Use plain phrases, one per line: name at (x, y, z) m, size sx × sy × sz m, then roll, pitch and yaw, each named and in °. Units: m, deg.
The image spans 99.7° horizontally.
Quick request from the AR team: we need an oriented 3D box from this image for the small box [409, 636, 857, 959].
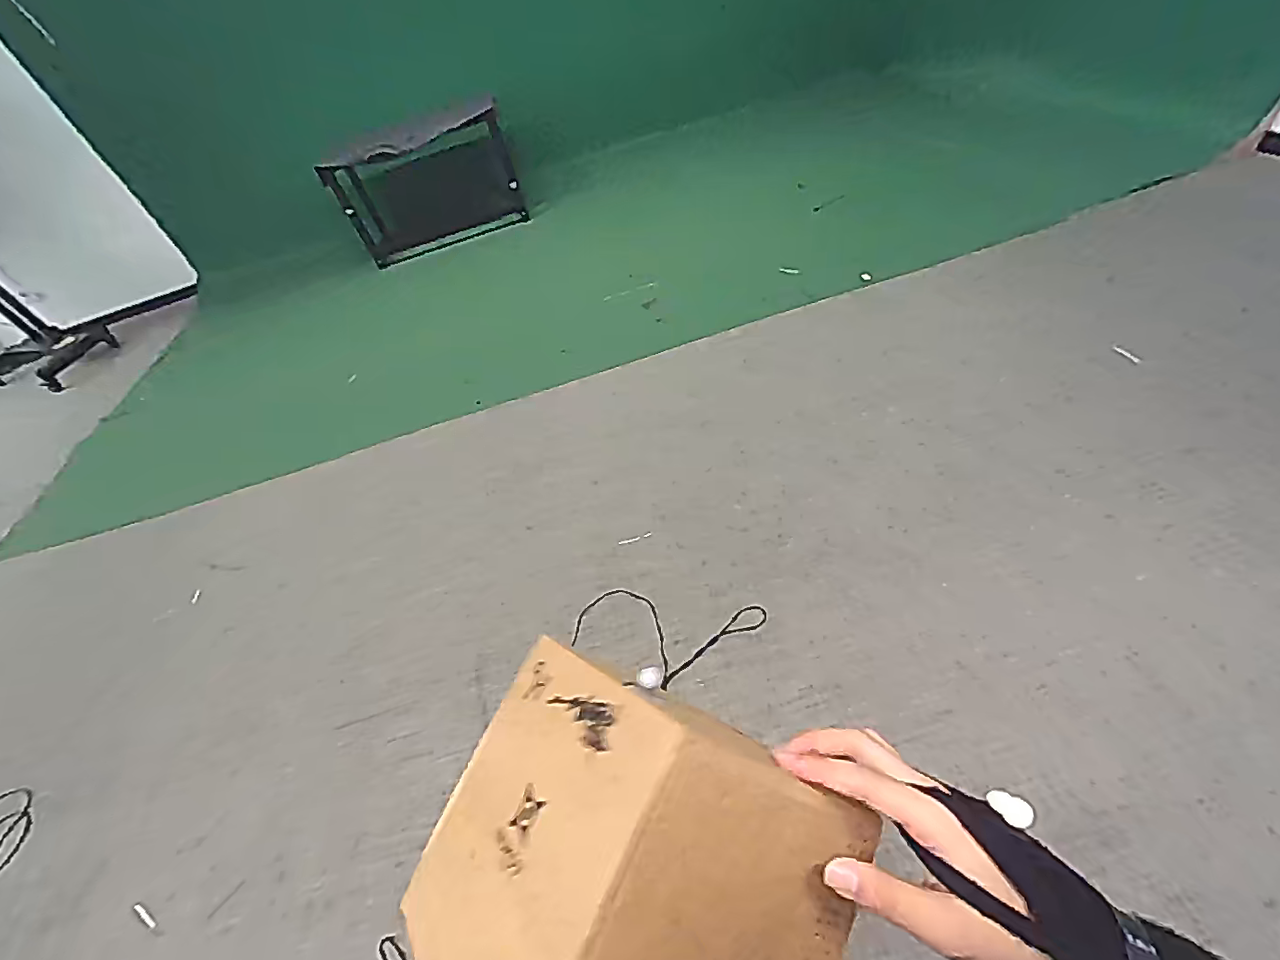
small box at (-0.005, 0.223, 0.318) m, size 0.168 × 0.176 × 0.179 m, roll 2°, pitch 62°, yaw 60°
